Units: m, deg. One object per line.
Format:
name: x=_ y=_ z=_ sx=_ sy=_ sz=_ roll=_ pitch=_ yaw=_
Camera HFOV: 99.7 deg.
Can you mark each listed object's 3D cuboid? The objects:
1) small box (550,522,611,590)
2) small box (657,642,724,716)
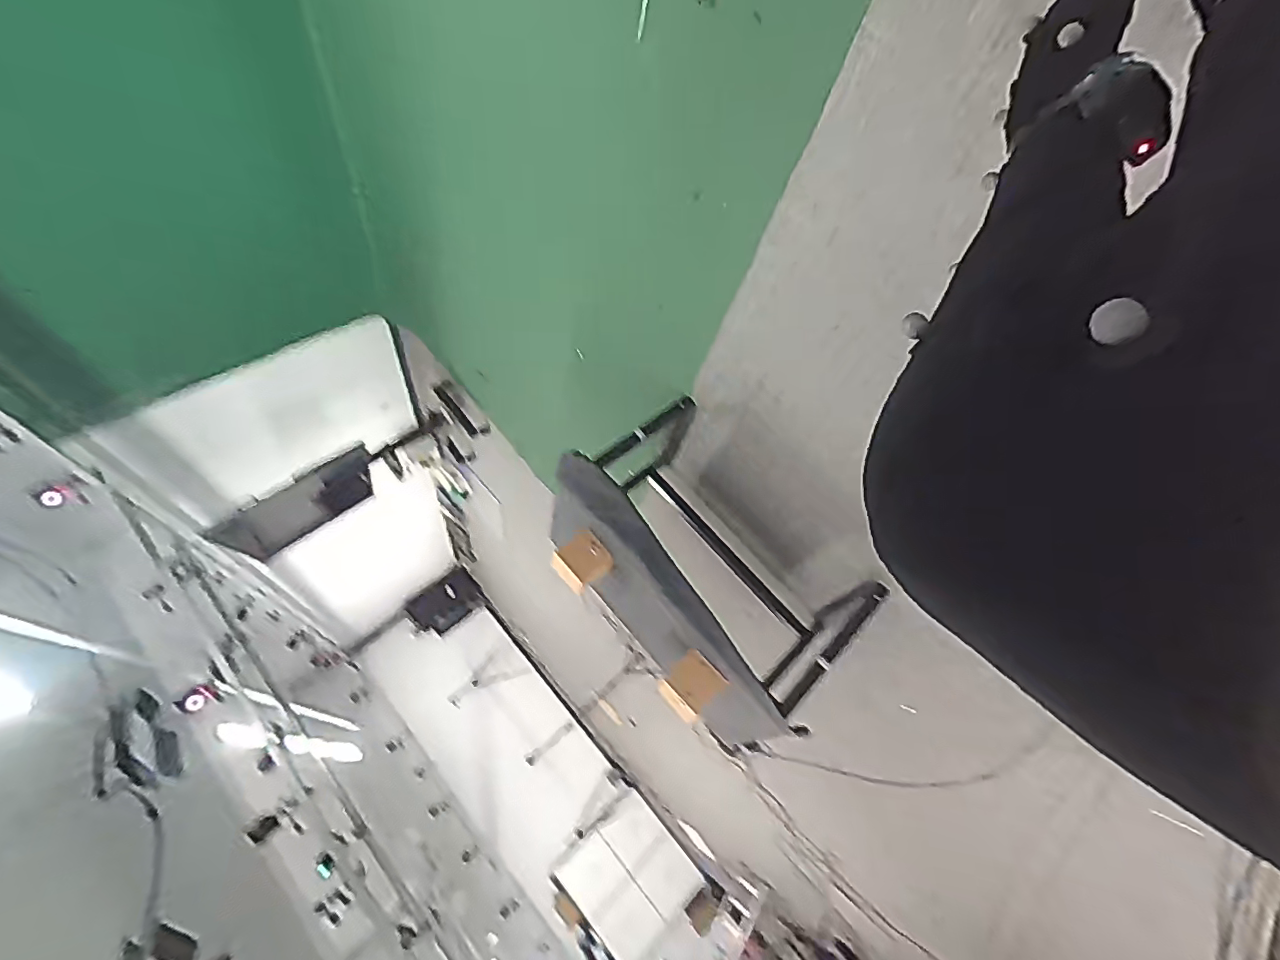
small box: x=-0.234 y=0.299 z=2.135 sx=0.168 sy=0.176 sz=0.179 roll=45 pitch=152 yaw=12
small box: x=0.183 y=0.723 z=1.966 sx=0.168 sy=0.176 sz=0.179 roll=42 pitch=153 yaw=20
